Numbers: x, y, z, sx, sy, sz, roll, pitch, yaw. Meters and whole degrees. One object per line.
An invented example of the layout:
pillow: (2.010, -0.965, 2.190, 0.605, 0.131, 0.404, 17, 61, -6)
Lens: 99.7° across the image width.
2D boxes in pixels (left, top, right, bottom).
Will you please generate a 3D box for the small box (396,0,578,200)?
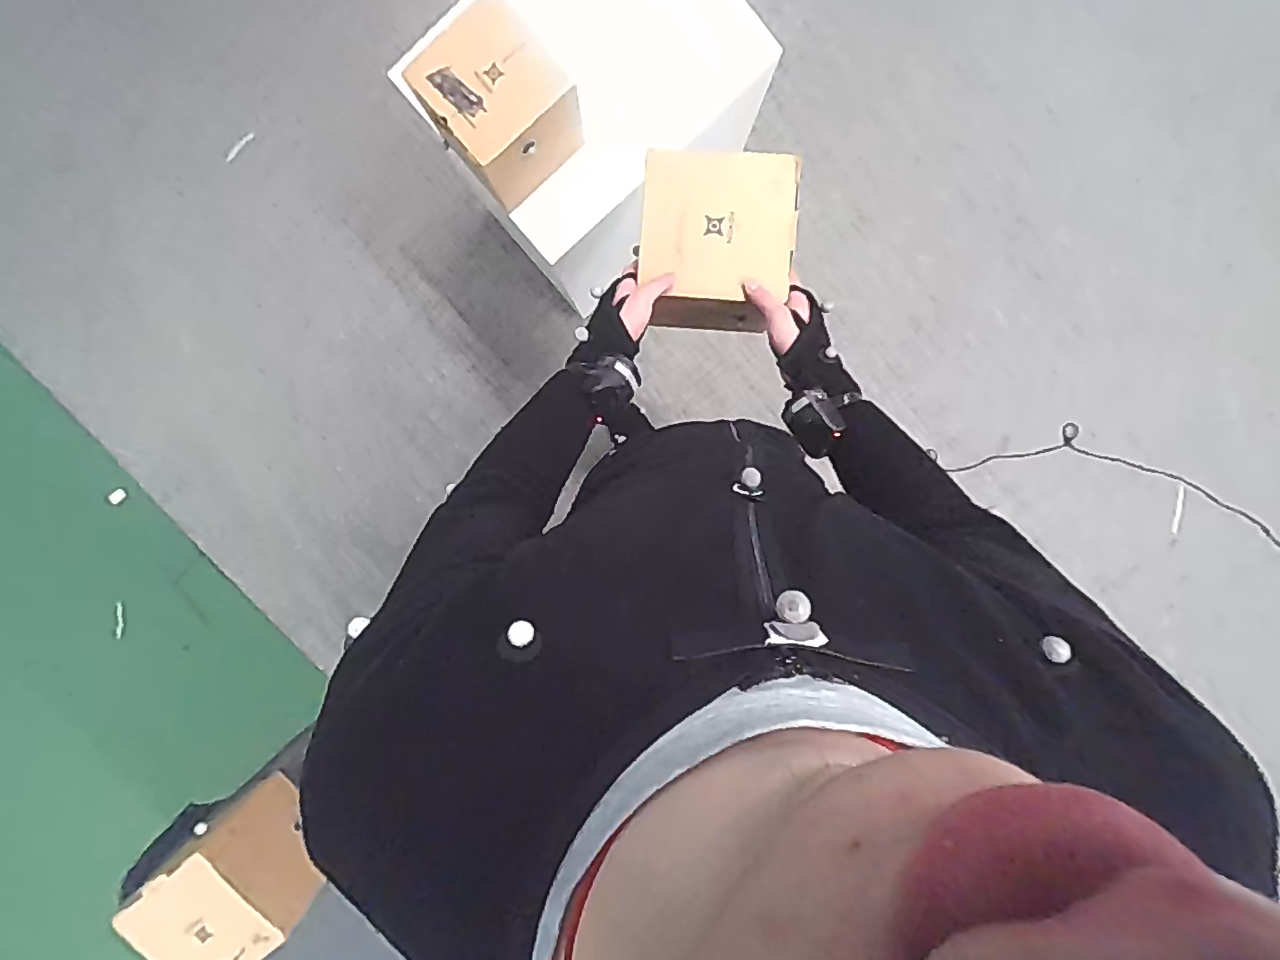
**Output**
small box: (-0.204, -0.550, 0.785, 0.179, 0.176, 0.168, -41, 97, 2)

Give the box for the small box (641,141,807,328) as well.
small box: (0.095, -0.293, 0.681, 0.179, 0.176, 0.168, 4, 94, 2)

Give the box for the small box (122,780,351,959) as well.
small box: (-0.588, 0.592, 0.814, 0.168, 0.176, 0.179, -38, 97, 4)
